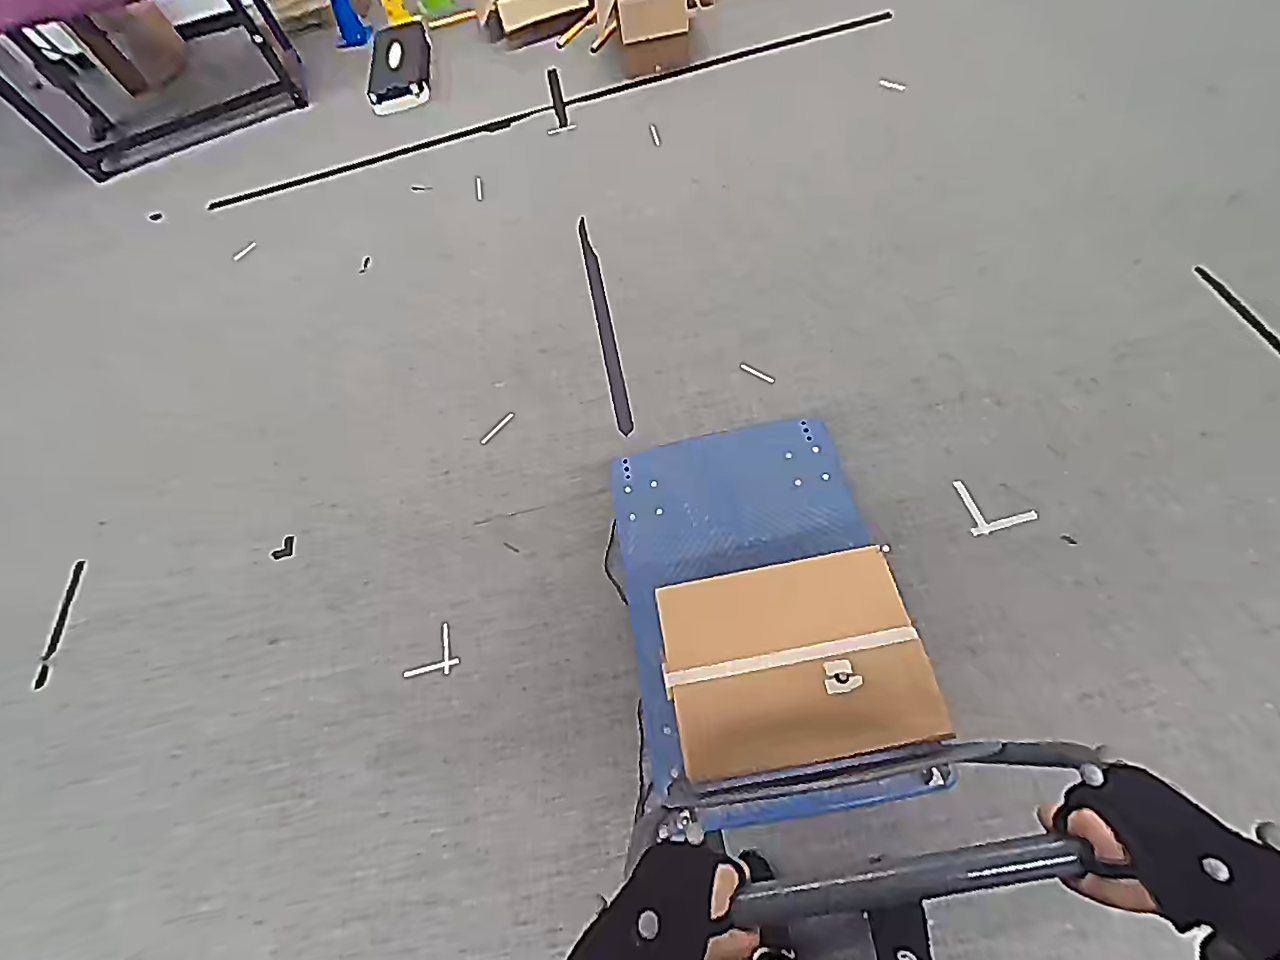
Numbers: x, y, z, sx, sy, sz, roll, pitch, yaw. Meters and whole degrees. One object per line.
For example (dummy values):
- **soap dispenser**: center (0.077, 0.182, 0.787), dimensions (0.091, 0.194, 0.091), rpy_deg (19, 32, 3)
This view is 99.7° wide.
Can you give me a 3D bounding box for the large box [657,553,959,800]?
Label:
- **large box**: center (0.266, 0.369, 0.991), dimensions (0.408, 0.320, 0.320), rpy_deg (-12, 61, 2)
